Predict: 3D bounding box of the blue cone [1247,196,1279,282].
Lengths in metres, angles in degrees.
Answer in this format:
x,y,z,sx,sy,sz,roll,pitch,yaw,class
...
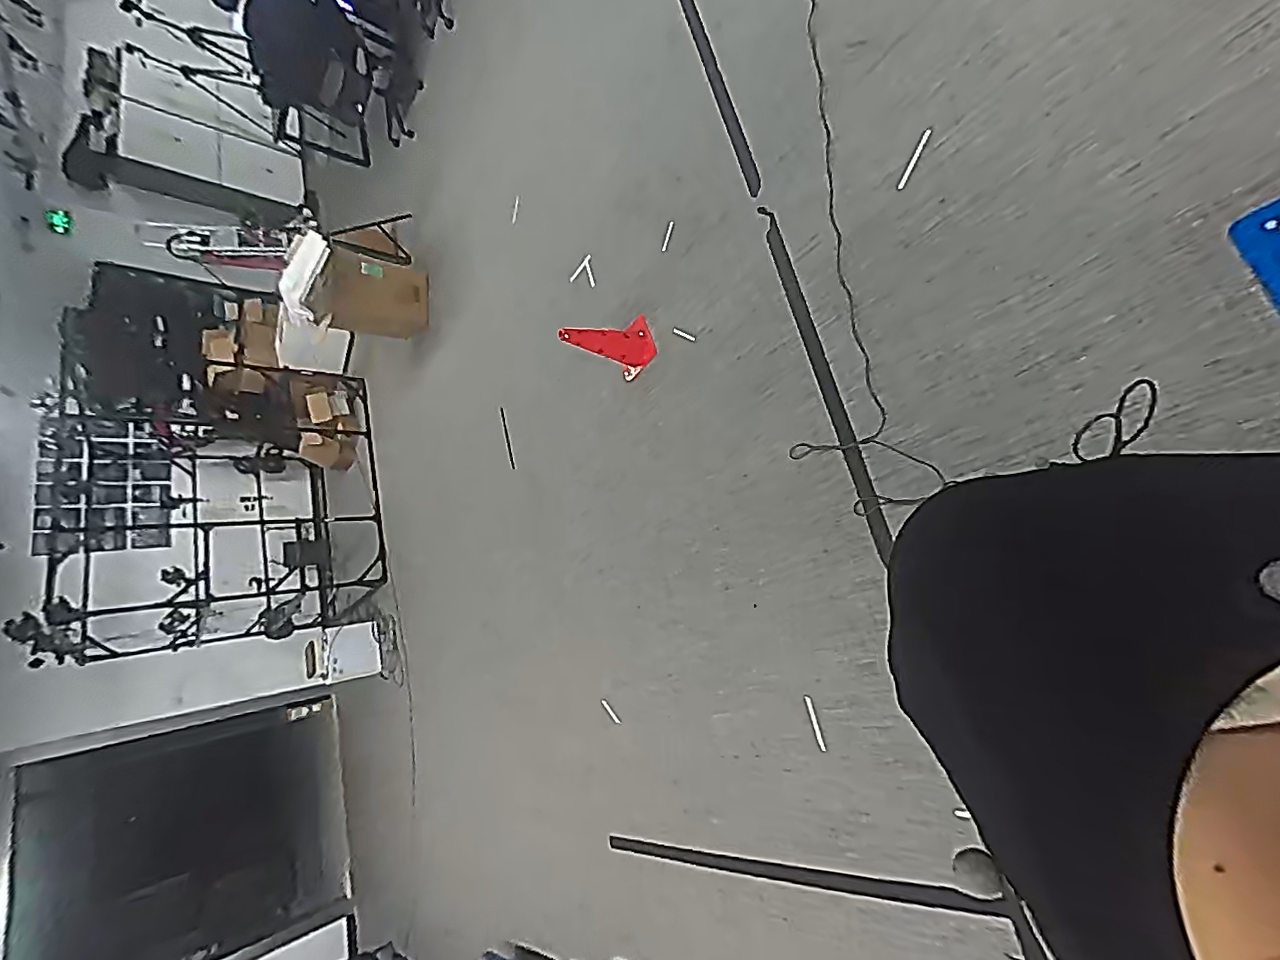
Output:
x,y,z,sx,sy,sz,roll,pitch,yaw,class
0.986,-0.398,0.733,0.192,0.380,0.193,-29,69,44,blue cone

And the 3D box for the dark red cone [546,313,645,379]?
x,y,z,sx,sy,sz,roll,pitch,yaw,class
-0.180,-0.531,2.044,0.201,0.394,0.202,-39,61,41,dark red cone
